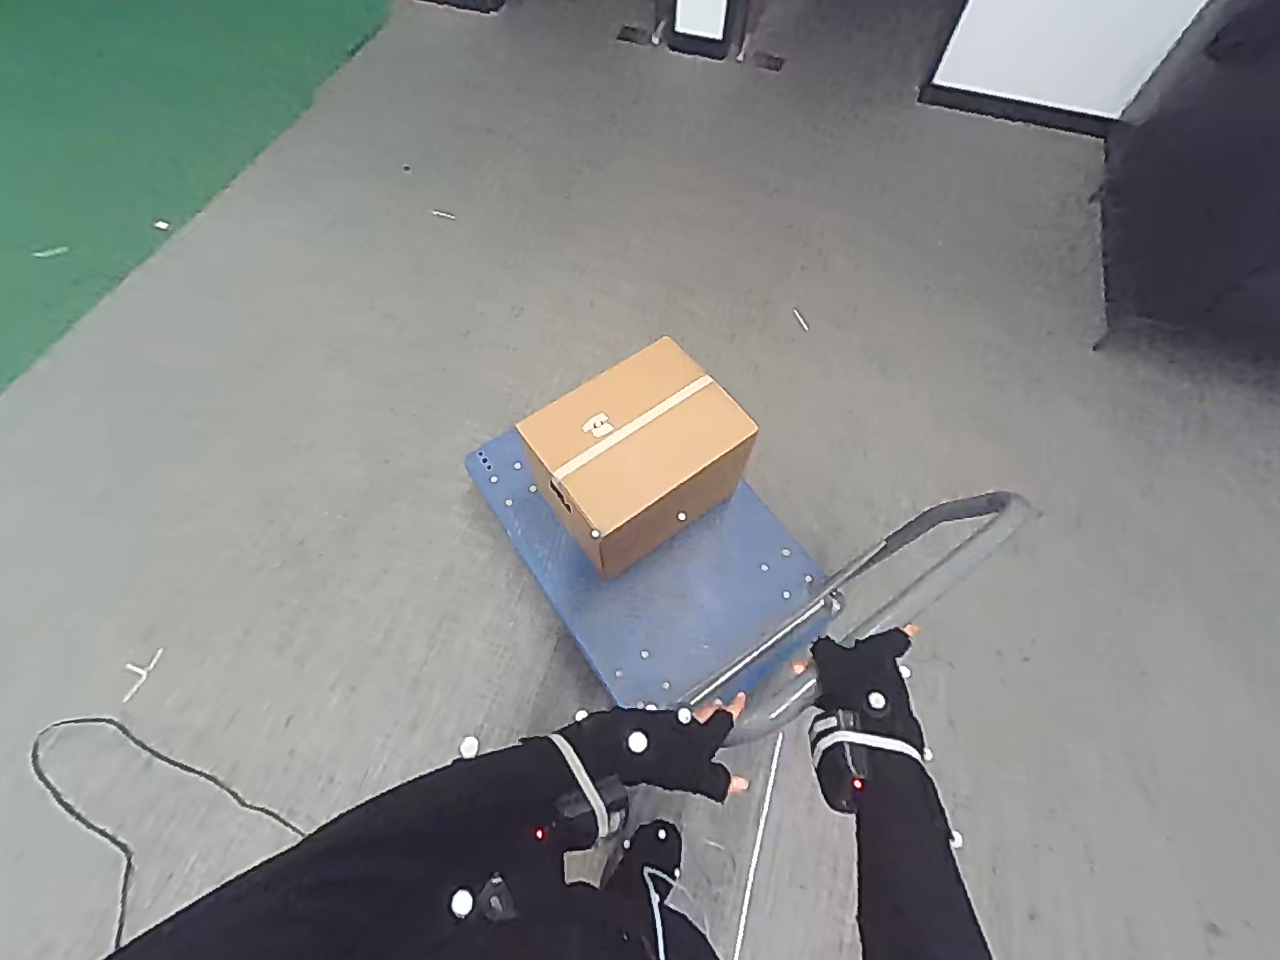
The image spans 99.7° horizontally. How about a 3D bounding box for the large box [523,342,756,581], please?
[{"bbox_3d":[0.001,-0.035,1.258,0.408,0.320,0.320,-36,68,-16],"label":"large box"}]
